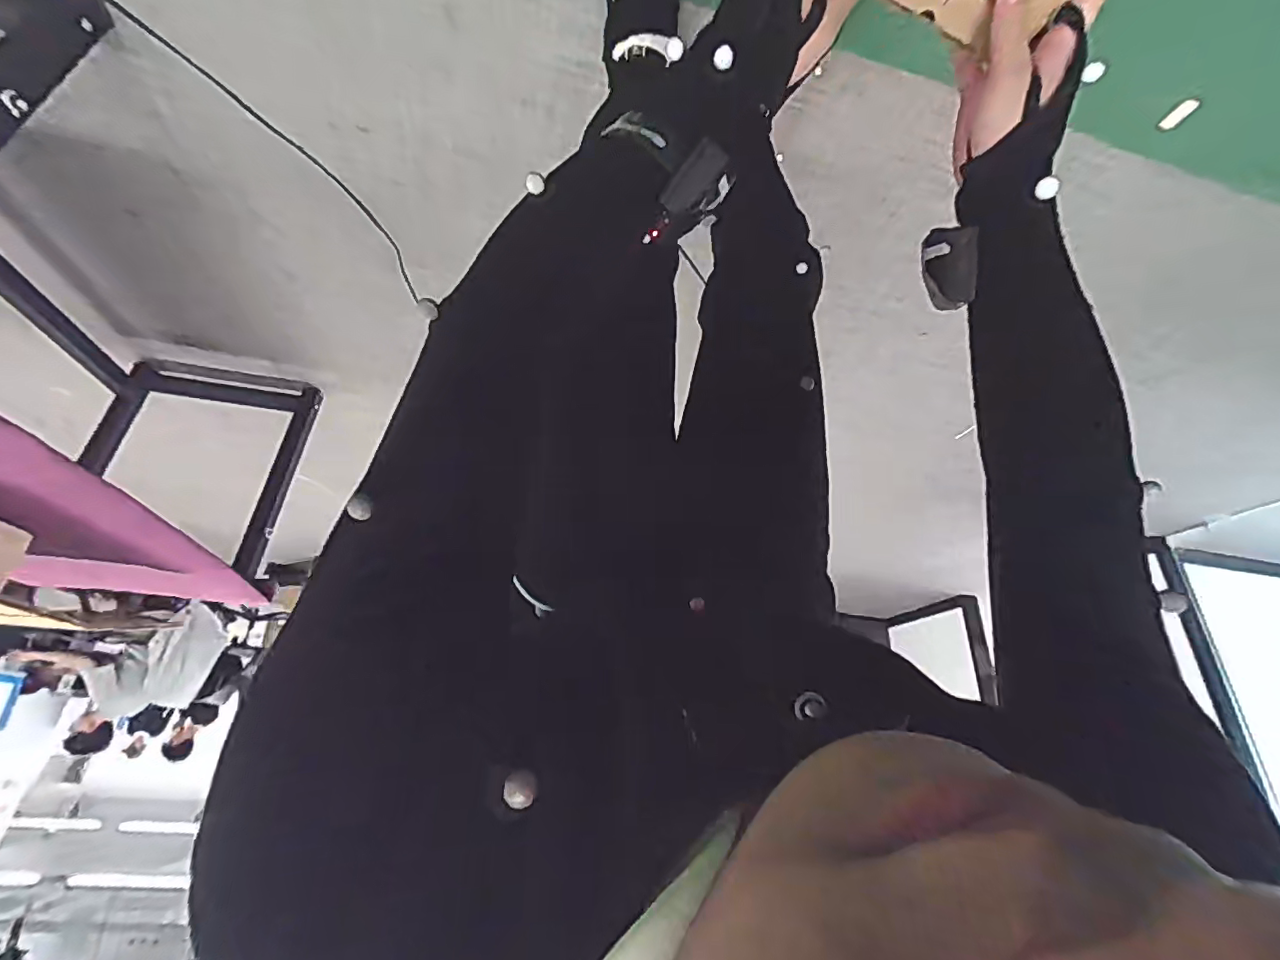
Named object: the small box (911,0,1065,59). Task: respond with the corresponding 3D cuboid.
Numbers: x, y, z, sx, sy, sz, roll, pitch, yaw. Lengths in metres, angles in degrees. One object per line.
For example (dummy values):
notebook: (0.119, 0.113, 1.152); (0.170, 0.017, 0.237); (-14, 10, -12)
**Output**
small box: (0.242, -0.445, 0.358); (0.168, 0.176, 0.179); (11, 148, -19)
